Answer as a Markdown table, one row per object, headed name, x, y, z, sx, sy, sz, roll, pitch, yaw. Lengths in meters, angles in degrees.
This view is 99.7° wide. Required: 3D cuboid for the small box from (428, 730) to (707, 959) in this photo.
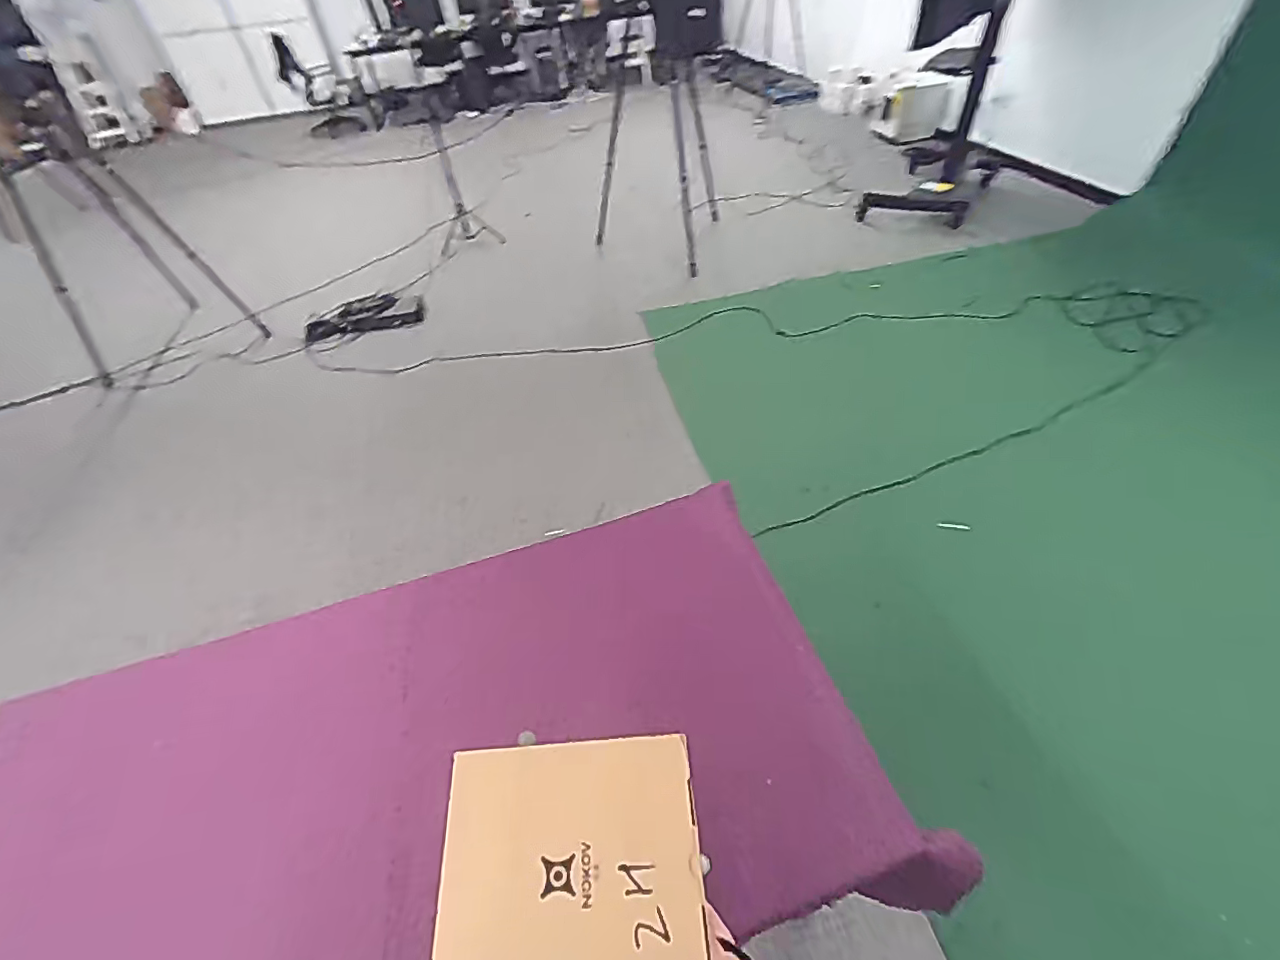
| name | x | y | z | sx | sy | sz | roll | pitch | yaw |
| --- | --- | --- | --- | --- | --- | --- | --- | --- | --- |
| small box | -0.046 | 0.304 | 0.424 | 0.179 | 0.176 | 0.168 | -3 | 55 | -1 |
